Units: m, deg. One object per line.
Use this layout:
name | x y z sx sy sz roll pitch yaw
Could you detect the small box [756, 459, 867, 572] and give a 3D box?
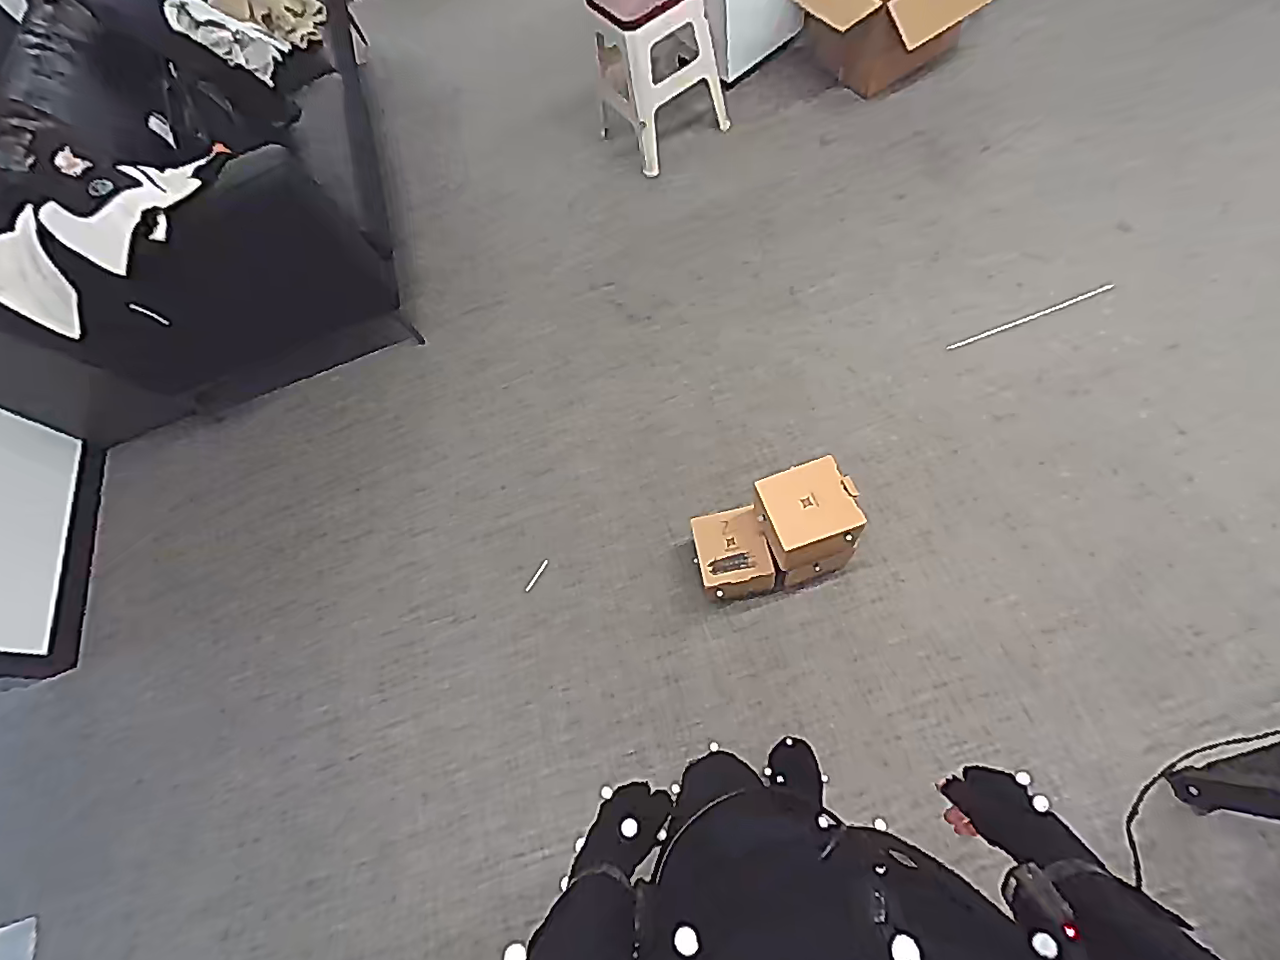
small box | 0.367 0.085 1.184 0.179 0.176 0.168 -20 64 2
